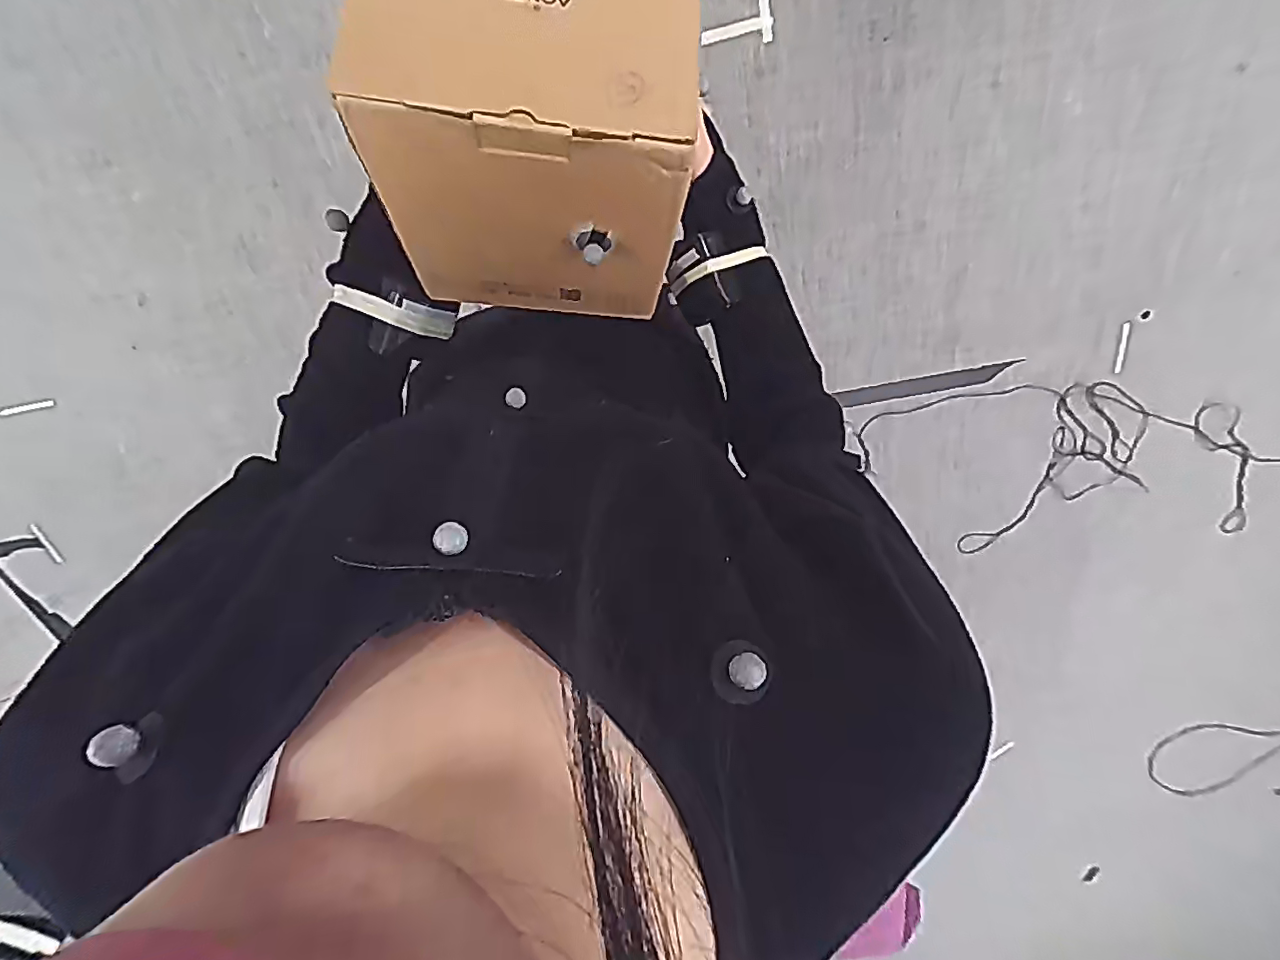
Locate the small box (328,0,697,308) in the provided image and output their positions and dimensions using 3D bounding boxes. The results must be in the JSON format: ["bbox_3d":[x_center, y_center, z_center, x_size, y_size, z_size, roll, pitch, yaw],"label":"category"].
[{"bbox_3d":[-0.061,-0.229,0.336,0.168,0.176,0.179,4,77,-7],"label":"small box"}]
